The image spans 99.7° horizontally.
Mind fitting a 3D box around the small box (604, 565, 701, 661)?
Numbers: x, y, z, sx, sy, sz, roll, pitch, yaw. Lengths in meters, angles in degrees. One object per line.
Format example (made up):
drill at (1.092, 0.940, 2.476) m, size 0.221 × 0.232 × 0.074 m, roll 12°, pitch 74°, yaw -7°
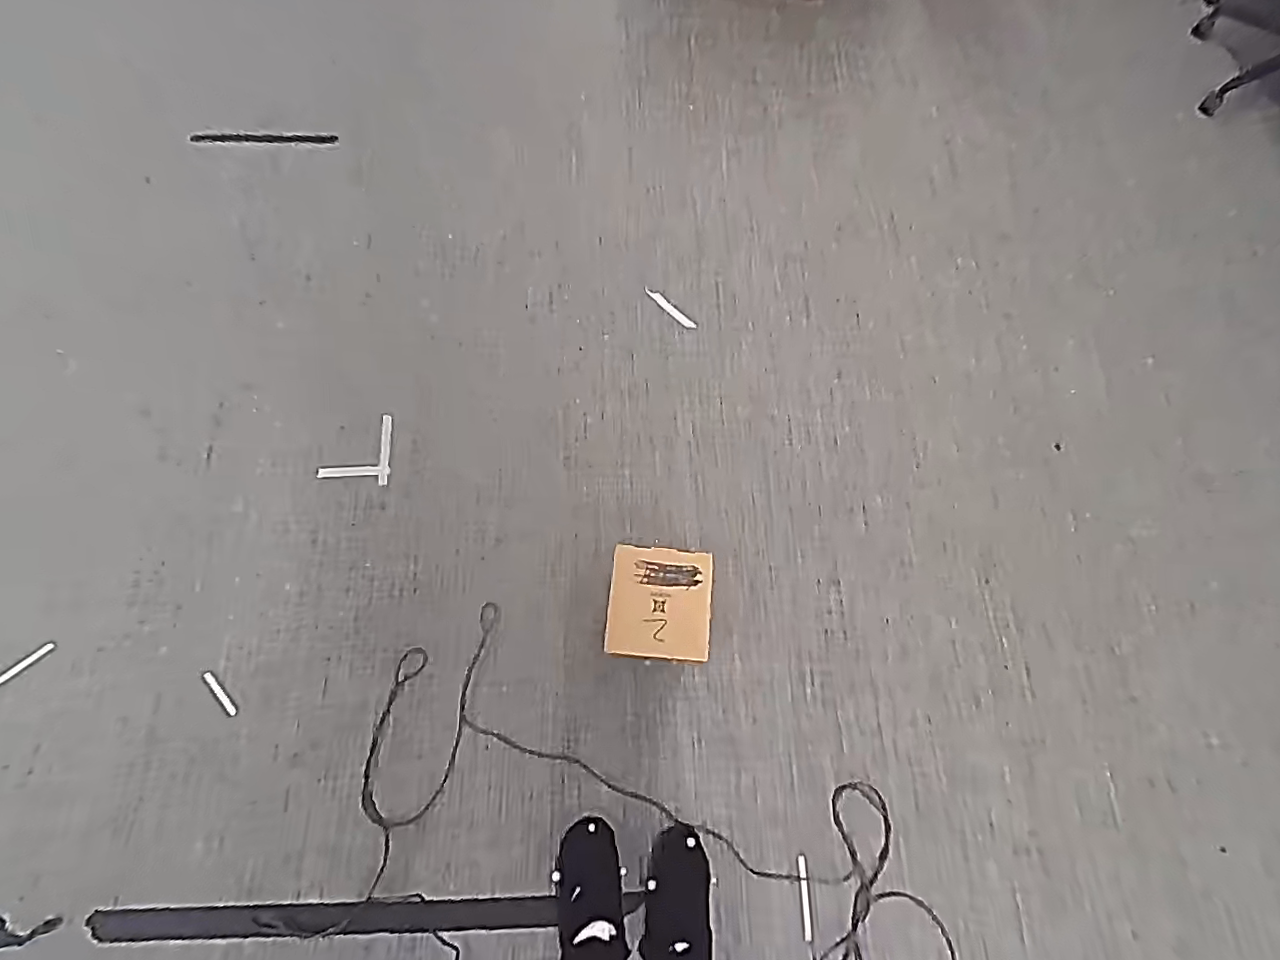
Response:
small box at (0.022, 0.275, 1.098) m, size 0.179 × 0.176 × 0.168 m, roll 5°, pitch 72°, yaw -2°
